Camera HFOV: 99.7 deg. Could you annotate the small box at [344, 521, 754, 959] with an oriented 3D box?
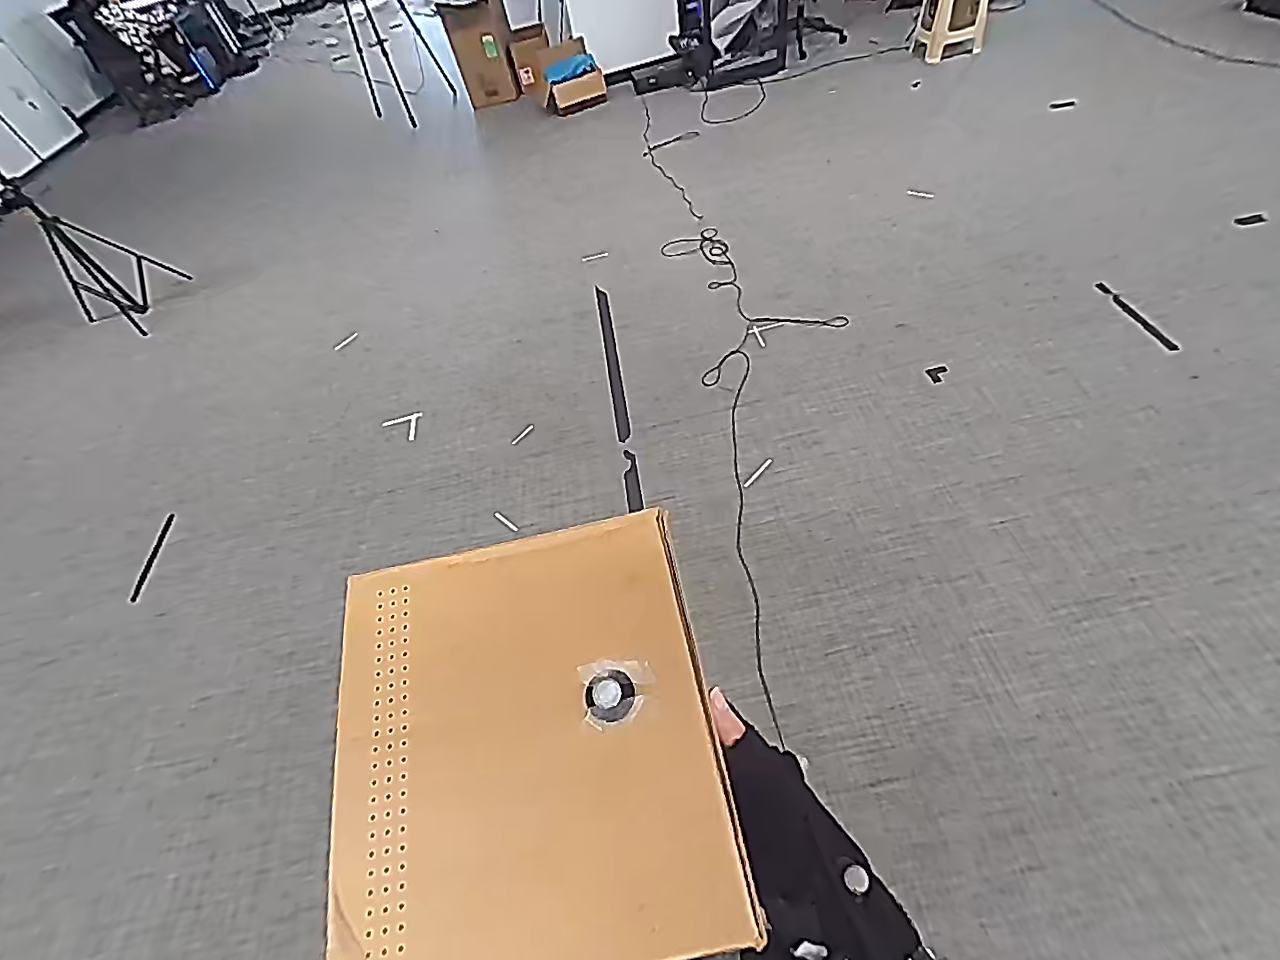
[{"bbox_3d":[-0.044,0.149,0.315,0.176,0.168,0.179,-13,62,2],"label":"small box"}]
